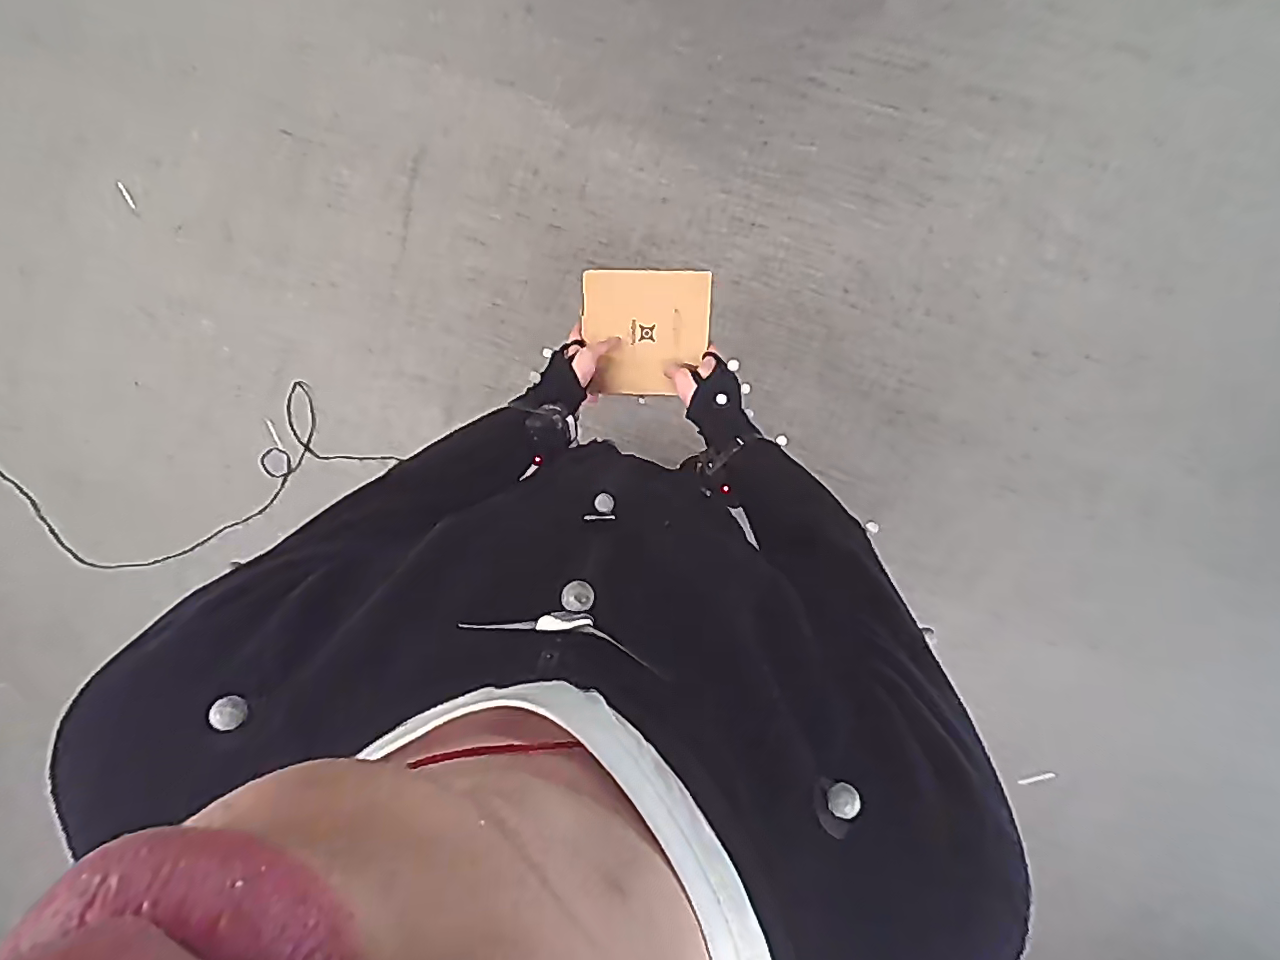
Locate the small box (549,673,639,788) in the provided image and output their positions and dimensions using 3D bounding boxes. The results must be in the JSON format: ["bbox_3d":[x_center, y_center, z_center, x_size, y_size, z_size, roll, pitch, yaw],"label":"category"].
[{"bbox_3d":[-0.109,0.630,1.380,0.168,0.176,0.179,21,96,3],"label":"small box"}]

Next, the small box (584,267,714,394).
[{"bbox_3d":[0.018,-0.216,0.813,0.179,0.176,0.168,1,99,5],"label":"small box"}]
